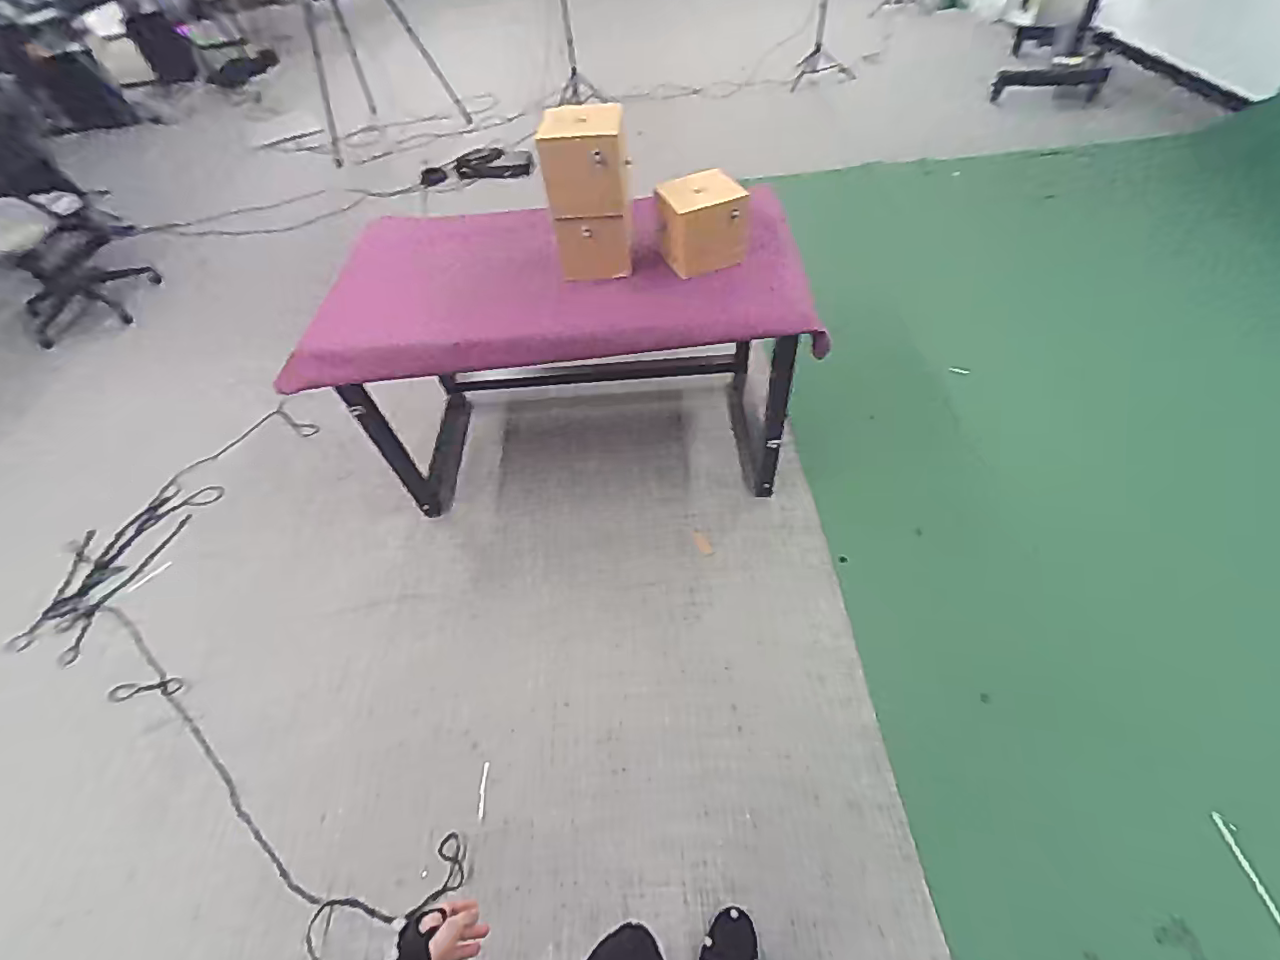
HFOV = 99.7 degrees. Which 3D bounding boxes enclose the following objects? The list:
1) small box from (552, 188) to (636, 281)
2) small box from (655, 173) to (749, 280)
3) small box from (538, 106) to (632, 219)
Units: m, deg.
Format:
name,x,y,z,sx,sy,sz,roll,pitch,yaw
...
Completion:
name,x,y,z,sx,sy,sz,roll,pitch,yaw
small box,-0.107,-0.611,1.344,0.179,0.176,0.168,0,53,4
small box,0.151,-0.616,1.325,0.179,0.176,0.168,-19,53,-9
small box,-0.114,-0.705,1.208,0.179,0.176,0.168,0,52,5
